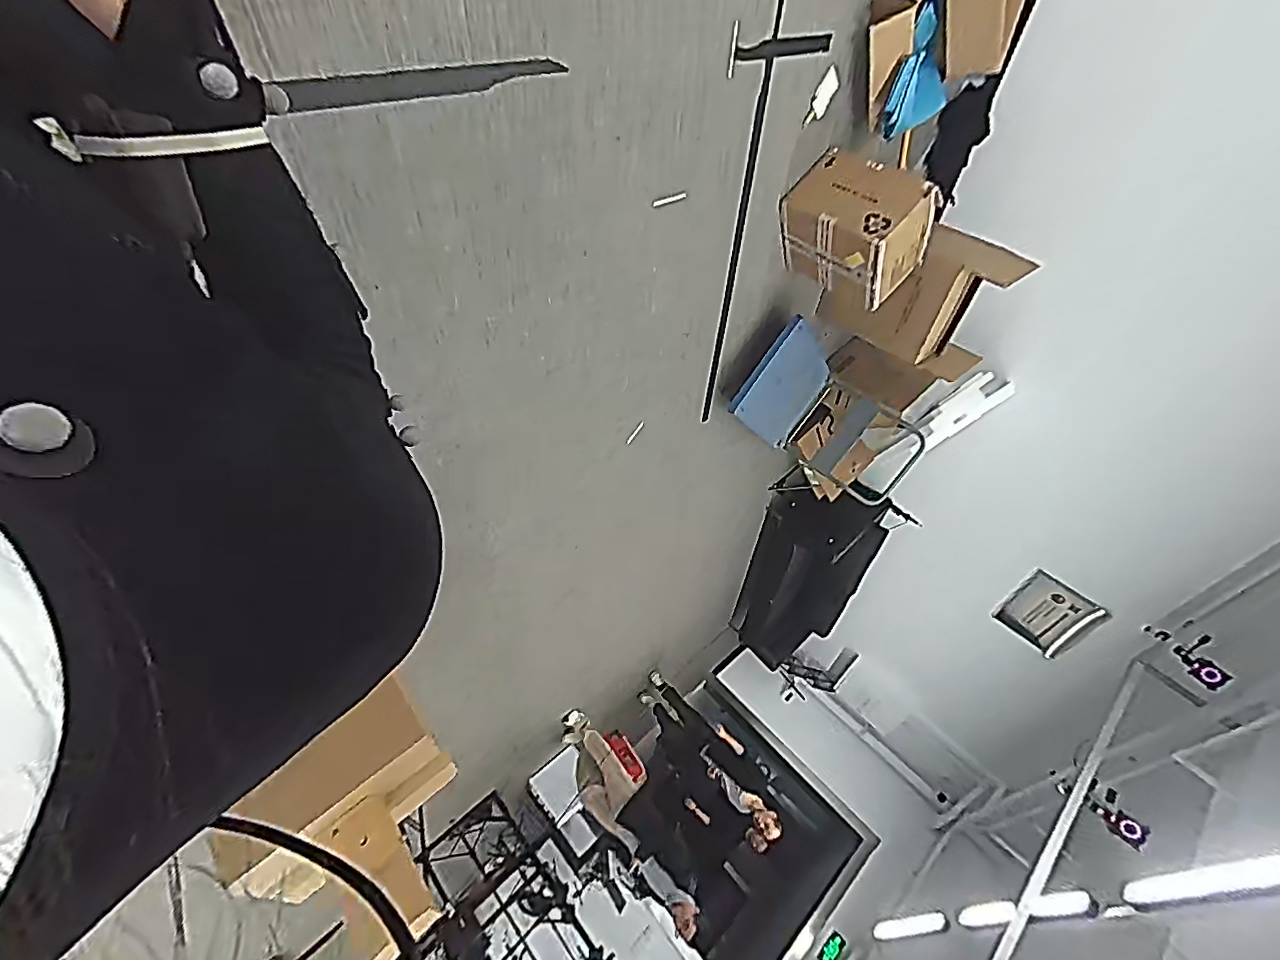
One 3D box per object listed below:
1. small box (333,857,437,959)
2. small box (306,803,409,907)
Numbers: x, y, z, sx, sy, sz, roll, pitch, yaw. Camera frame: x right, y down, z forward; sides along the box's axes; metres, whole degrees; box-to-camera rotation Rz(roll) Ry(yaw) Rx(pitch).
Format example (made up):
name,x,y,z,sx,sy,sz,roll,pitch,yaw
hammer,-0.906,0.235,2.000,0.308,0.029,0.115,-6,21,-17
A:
name,x,y,z,sx,sy,sz,roll,pitch,yaw
small box,-0.643,1.102,1.370,0.168,0.176,0.179,-32,147,-33
small box,-0.754,1.004,1.443,0.168,0.176,0.179,-33,148,-30
